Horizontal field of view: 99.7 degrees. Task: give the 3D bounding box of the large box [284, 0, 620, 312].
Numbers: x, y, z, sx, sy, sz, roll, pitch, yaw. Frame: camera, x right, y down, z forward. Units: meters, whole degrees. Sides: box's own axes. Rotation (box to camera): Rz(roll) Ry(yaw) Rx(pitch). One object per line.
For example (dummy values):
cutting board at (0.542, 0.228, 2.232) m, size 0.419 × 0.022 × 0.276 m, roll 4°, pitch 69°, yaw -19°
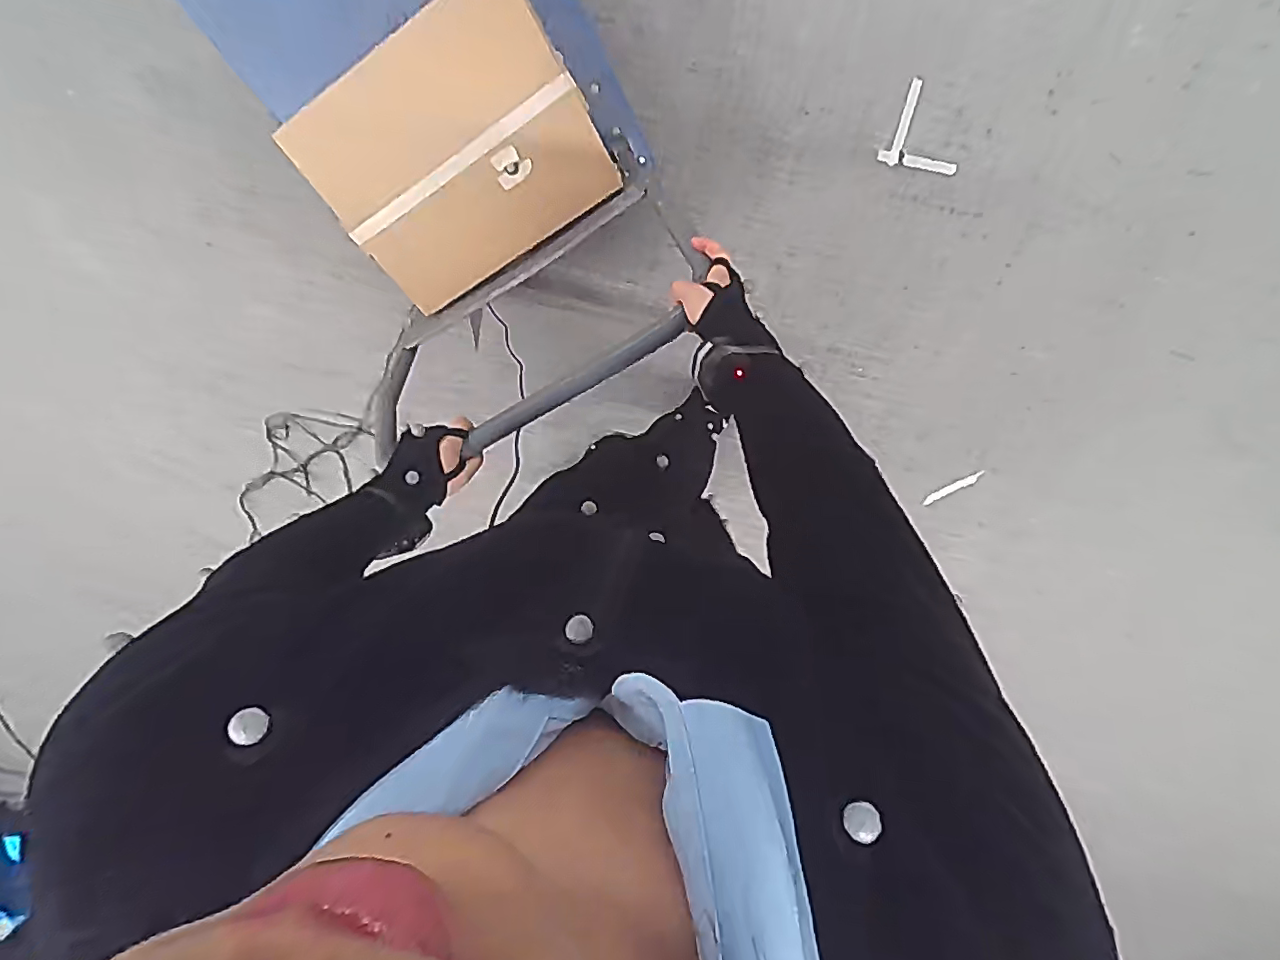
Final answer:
large box at (-0.292, -0.571, 0.936) m, size 0.408 × 0.320 × 0.320 m, roll -29°, pitch 126°, yaw 12°
